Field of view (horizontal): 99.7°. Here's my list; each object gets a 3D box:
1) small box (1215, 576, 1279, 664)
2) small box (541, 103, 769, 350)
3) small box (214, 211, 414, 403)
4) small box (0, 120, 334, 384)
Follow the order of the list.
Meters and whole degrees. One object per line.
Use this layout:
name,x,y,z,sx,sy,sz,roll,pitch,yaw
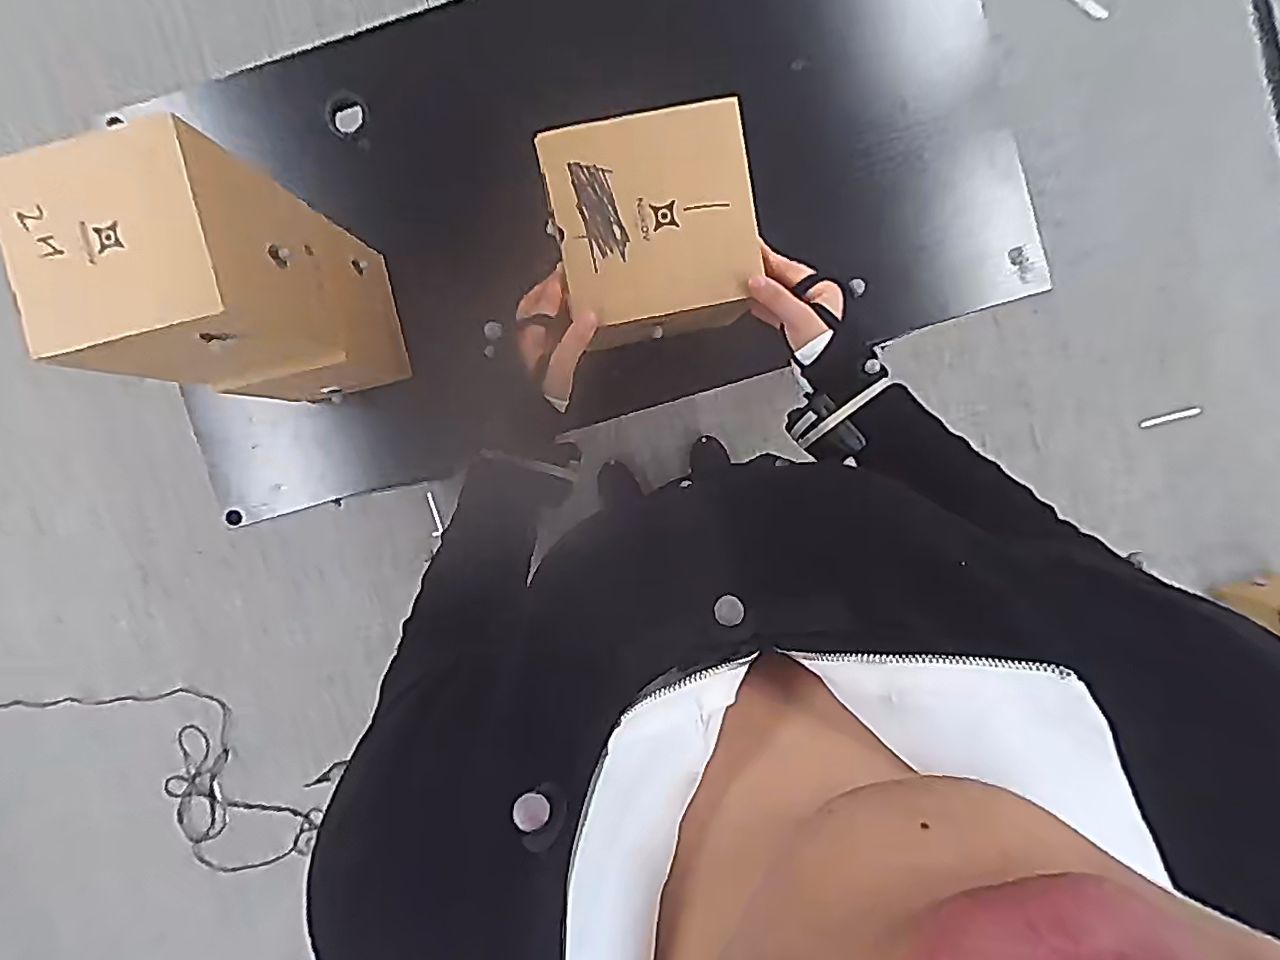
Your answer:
small box,1.645,0.358,1.388,0.179,0.176,0.168,-14,94,4
small box,0.013,-0.234,0.544,0.179,0.176,0.168,-11,98,-1
small box,-0.418,-0.204,0.688,0.168,0.176,0.179,-13,94,4
small box,-0.430,-0.198,0.523,0.179,0.176,0.168,-13,92,4
